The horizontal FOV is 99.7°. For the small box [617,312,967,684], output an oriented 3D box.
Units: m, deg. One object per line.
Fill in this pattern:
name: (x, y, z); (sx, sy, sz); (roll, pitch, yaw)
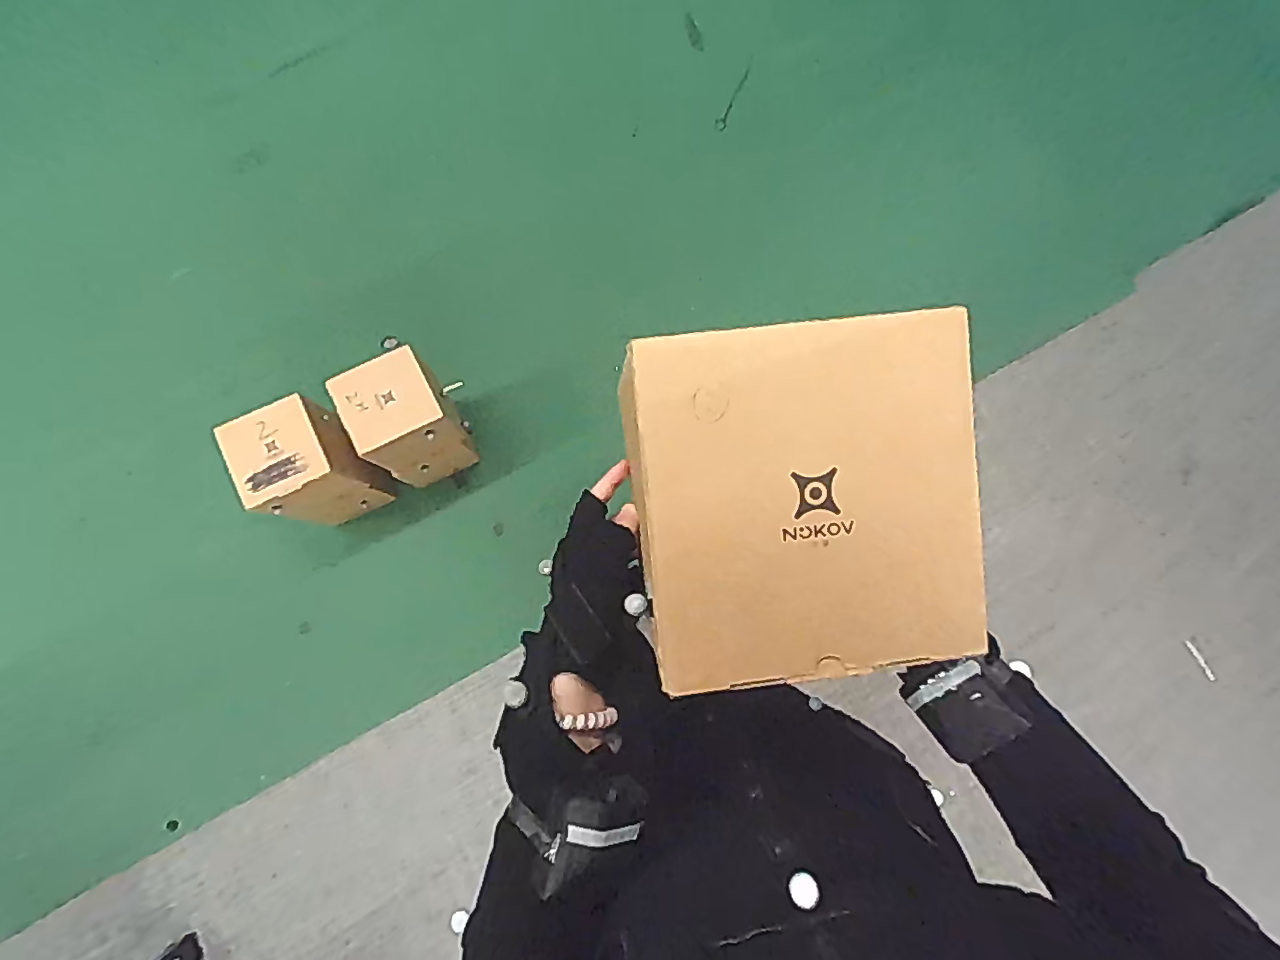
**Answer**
small box: (0.076, 0.005, 0.353); (0.168, 0.176, 0.179); (-7, 94, -3)
